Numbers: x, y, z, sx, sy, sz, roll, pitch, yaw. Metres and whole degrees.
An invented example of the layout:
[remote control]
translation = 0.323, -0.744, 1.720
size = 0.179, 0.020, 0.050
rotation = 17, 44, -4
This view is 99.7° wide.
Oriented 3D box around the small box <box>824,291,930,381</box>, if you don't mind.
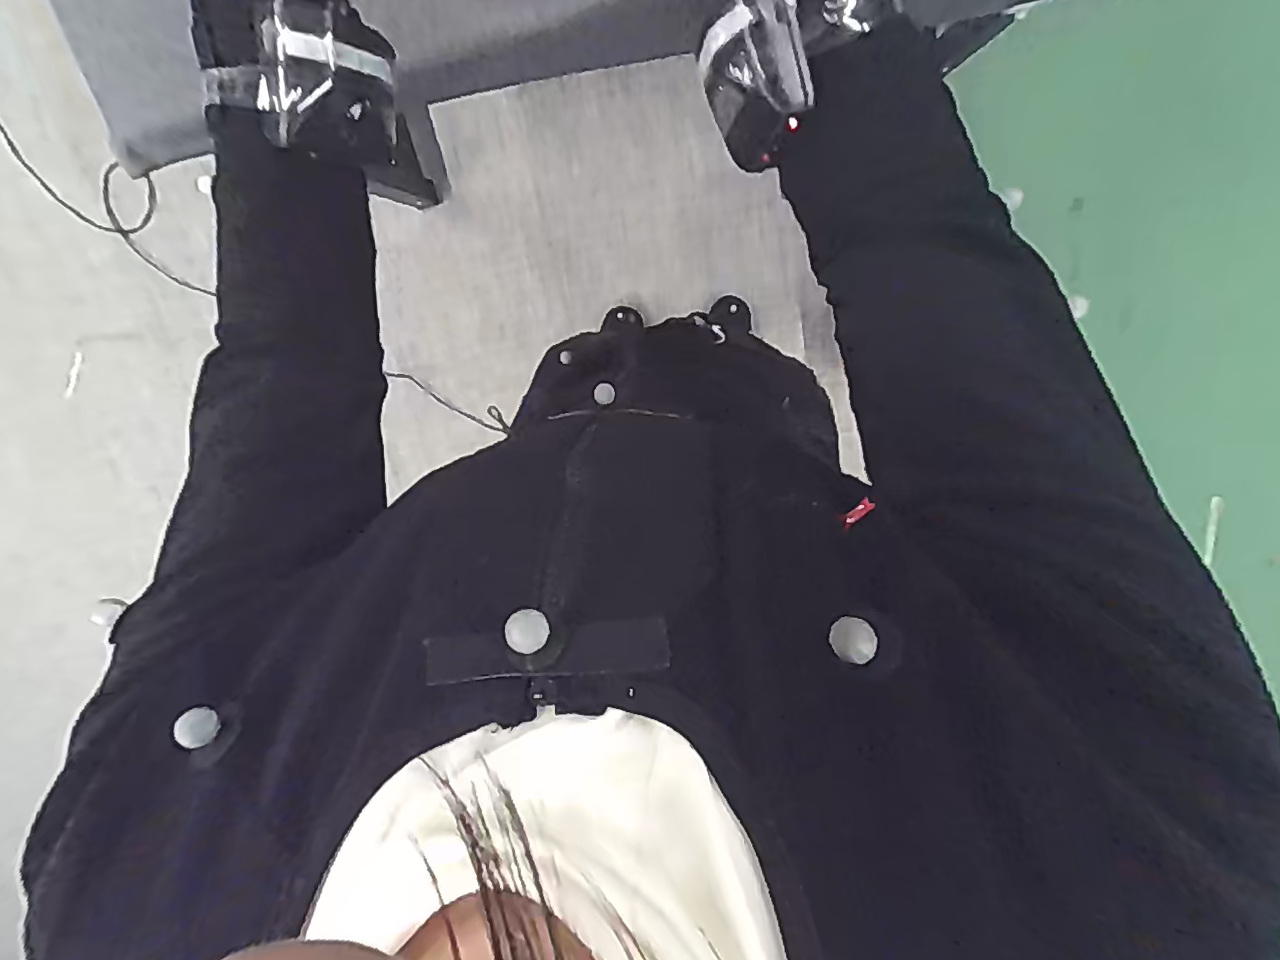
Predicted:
[small box]
translation = 0.536, -0.334, 1.236
size = 0.179, 0.176, 0.168
rotation = -9, 107, 7
